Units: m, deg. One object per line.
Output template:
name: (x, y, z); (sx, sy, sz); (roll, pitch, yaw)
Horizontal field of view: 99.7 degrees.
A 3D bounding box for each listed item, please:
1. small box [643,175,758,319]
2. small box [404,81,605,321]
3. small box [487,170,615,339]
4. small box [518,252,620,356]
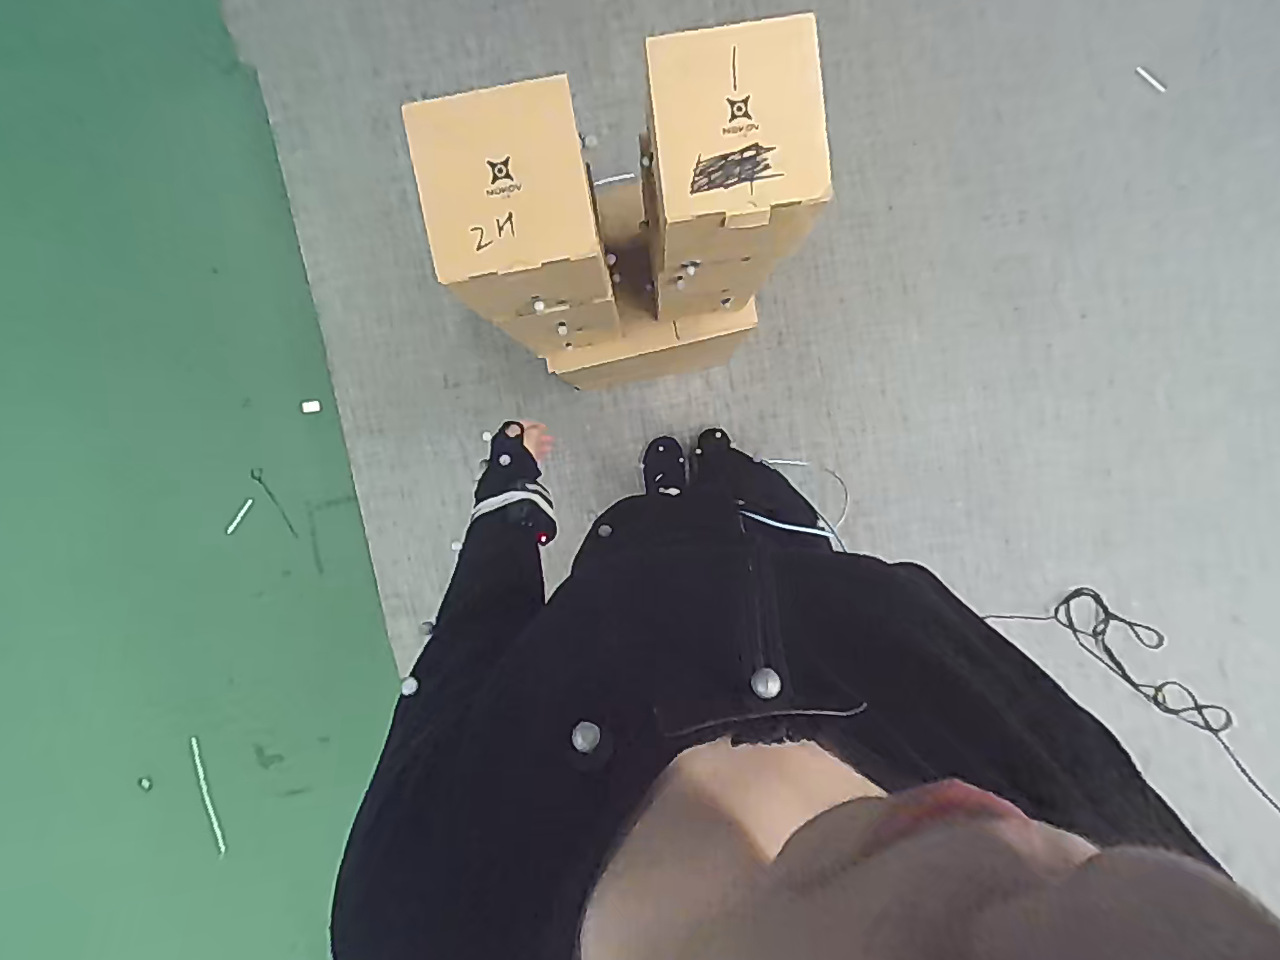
small box: (0.099, -0.385, 0.928); (0.168, 0.176, 0.179); (-8, 93, 2)
small box: (-0.137, -0.296, 0.611); (0.168, 0.176, 0.179); (-10, 95, 2)
small box: (-0.131, -0.308, 0.776); (0.168, 0.176, 0.179); (-10, 95, 1)
small box: (-0.131, -0.326, 0.939); (0.168, 0.176, 0.179); (-11, 95, 1)
